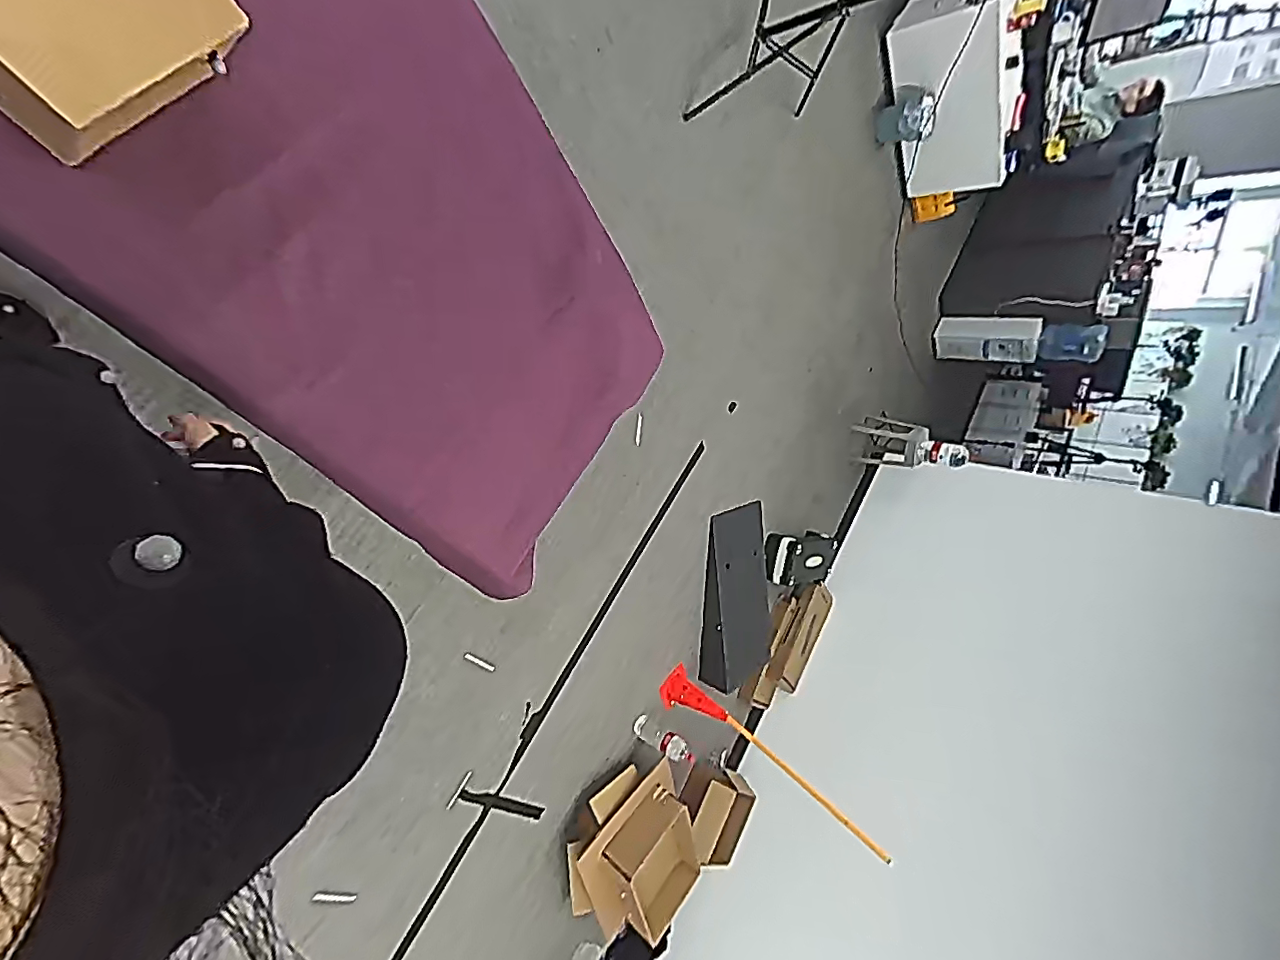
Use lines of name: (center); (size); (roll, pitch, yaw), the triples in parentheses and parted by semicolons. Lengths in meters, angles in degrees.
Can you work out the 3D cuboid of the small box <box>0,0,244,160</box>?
small box: (-0.486, -0.399, 0.446); (0.179, 0.176, 0.168); (-58, 137, -21)
